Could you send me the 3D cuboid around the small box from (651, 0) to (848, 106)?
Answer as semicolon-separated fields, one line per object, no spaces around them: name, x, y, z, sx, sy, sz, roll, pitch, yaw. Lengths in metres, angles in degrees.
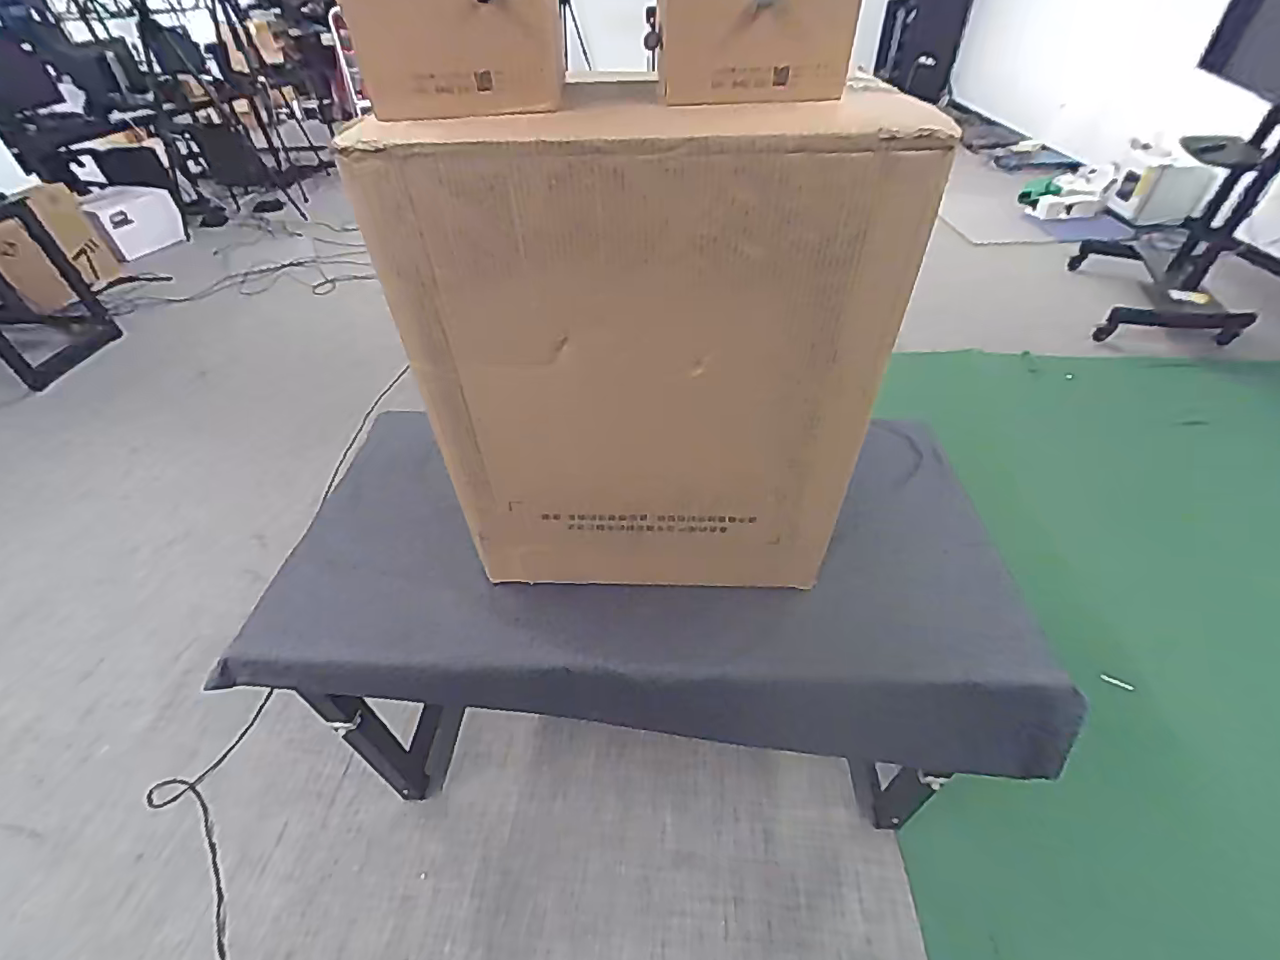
small box;0.095;-0.465;0.503;0.168;0.176;0.179;-2;47;0

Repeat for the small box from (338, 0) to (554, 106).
small box;-0.172;-0.454;0.488;0.168;0.176;0.179;-7;47;-3
